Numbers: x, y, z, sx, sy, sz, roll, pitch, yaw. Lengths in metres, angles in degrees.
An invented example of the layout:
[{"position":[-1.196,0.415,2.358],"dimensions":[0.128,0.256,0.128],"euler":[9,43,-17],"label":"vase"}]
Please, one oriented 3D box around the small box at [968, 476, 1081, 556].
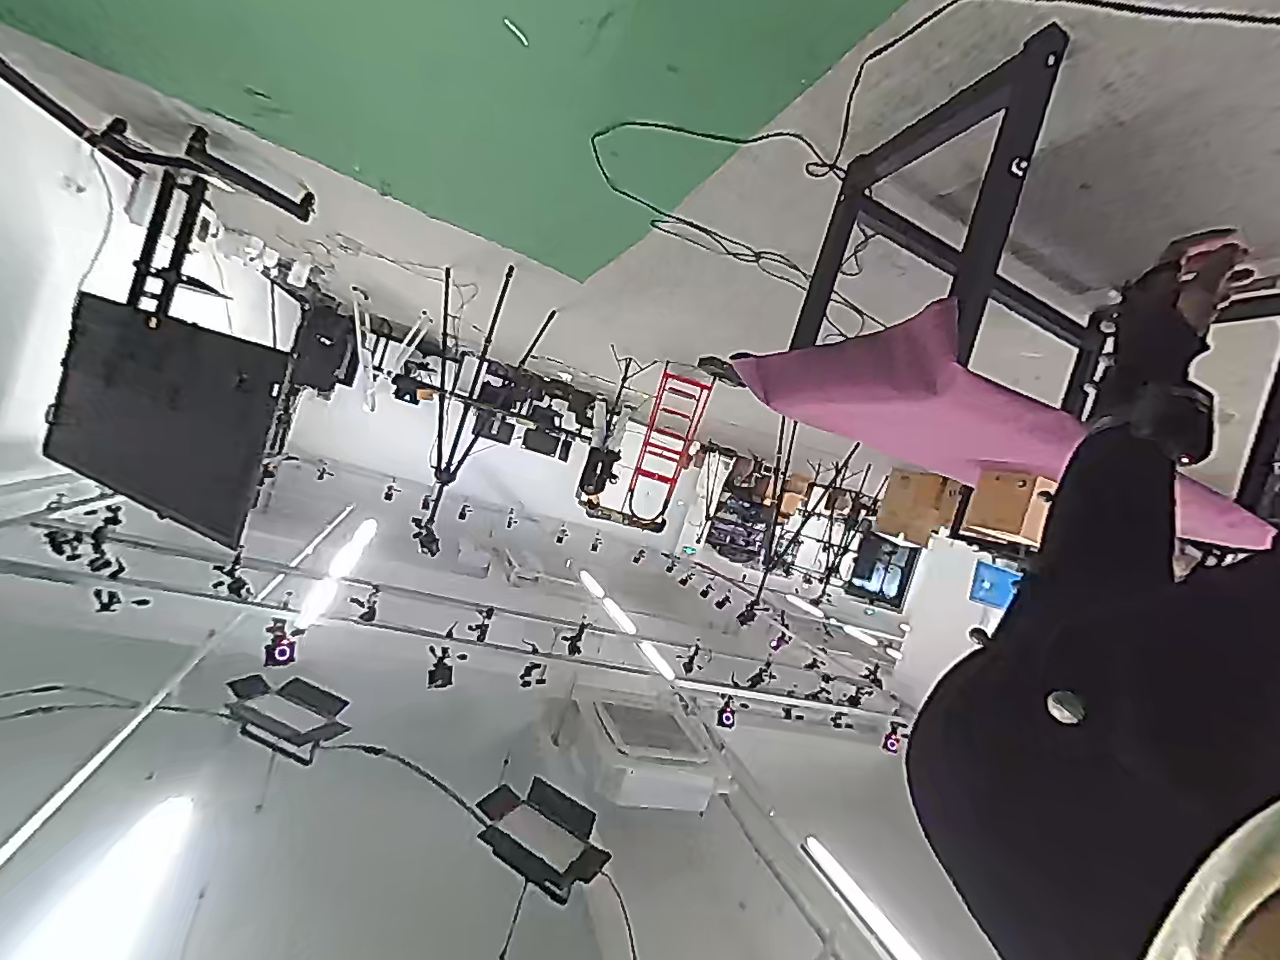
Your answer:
[{"position":[1.047,0.093,1.475],"dimensions":[0.179,0.176,0.168],"euler":[17,-179,-19],"label":"small box"}]
